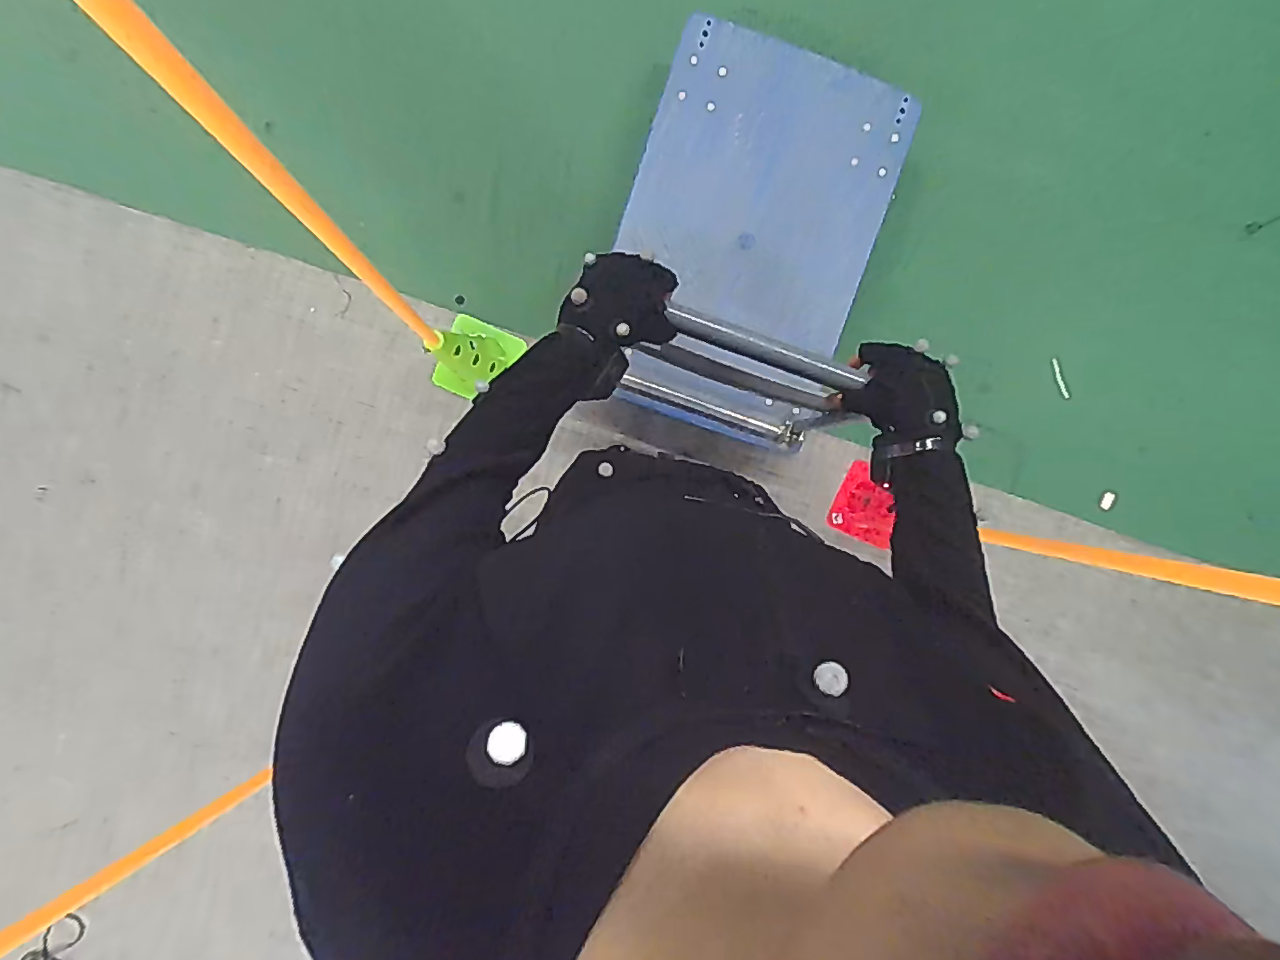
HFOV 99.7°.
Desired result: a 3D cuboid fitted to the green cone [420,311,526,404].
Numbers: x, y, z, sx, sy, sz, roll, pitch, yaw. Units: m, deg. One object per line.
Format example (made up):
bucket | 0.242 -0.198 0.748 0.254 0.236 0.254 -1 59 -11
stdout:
green cone | -0.418 -0.310 1.257 0.202 0.368 0.200 23 93 -3
